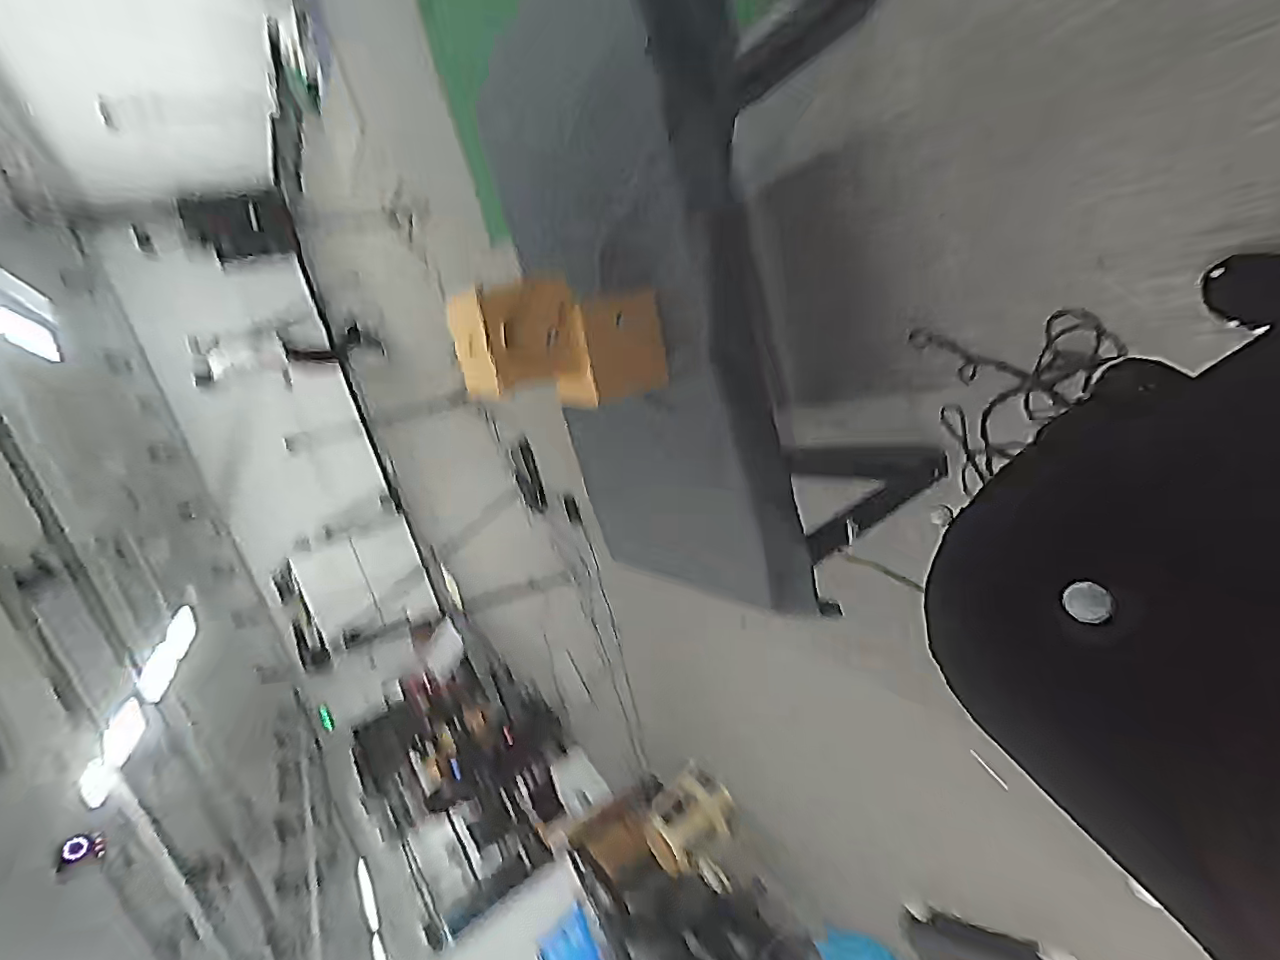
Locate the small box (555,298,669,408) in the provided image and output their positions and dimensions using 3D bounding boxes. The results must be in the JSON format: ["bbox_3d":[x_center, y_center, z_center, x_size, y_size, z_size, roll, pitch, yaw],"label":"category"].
[{"bbox_3d":[-0.067,-0.250,1.051,0.168,0.176,0.179,15,124,54],"label":"small box"}]

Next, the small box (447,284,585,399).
[{"bbox_3d":[-0.223,-0.248,0.976,0.179,0.176,0.168,13,120,54],"label":"small box"}]
